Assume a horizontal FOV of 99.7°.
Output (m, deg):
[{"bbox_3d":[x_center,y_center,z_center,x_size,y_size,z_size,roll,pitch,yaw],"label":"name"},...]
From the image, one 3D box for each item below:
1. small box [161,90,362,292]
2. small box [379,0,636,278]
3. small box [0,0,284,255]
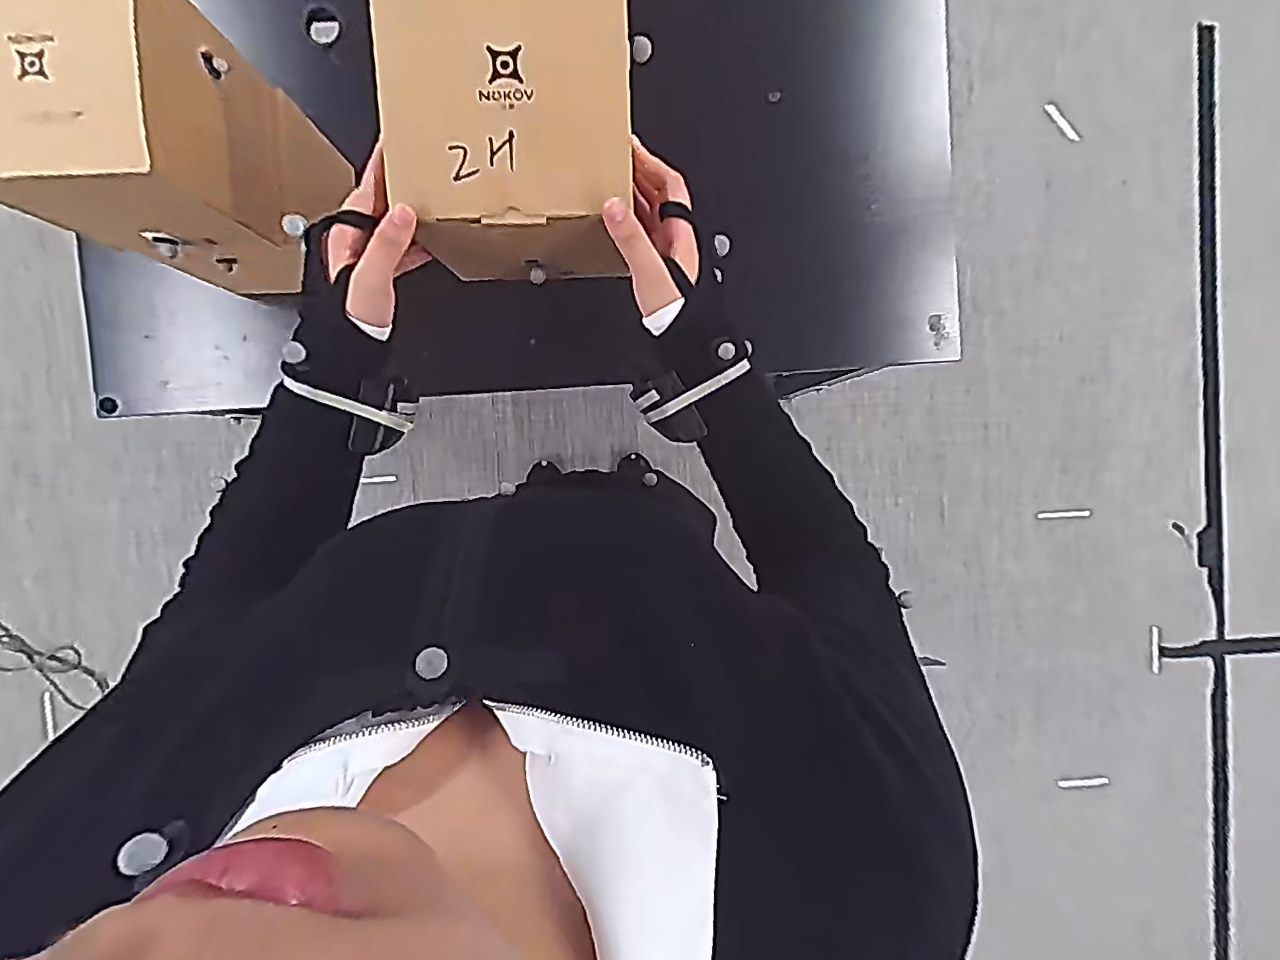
[{"bbox_3d":[-0.468,-0.335,0.658,0.179,0.176,0.168,-3,93,-3],"label":"small box"},{"bbox_3d":[-0.089,-0.275,0.435,0.168,0.176,0.179,-2,97,-1],"label":"small box"},{"bbox_3d":[-0.464,-0.327,0.496,0.168,0.176,0.179,-4,94,-1],"label":"small box"}]
